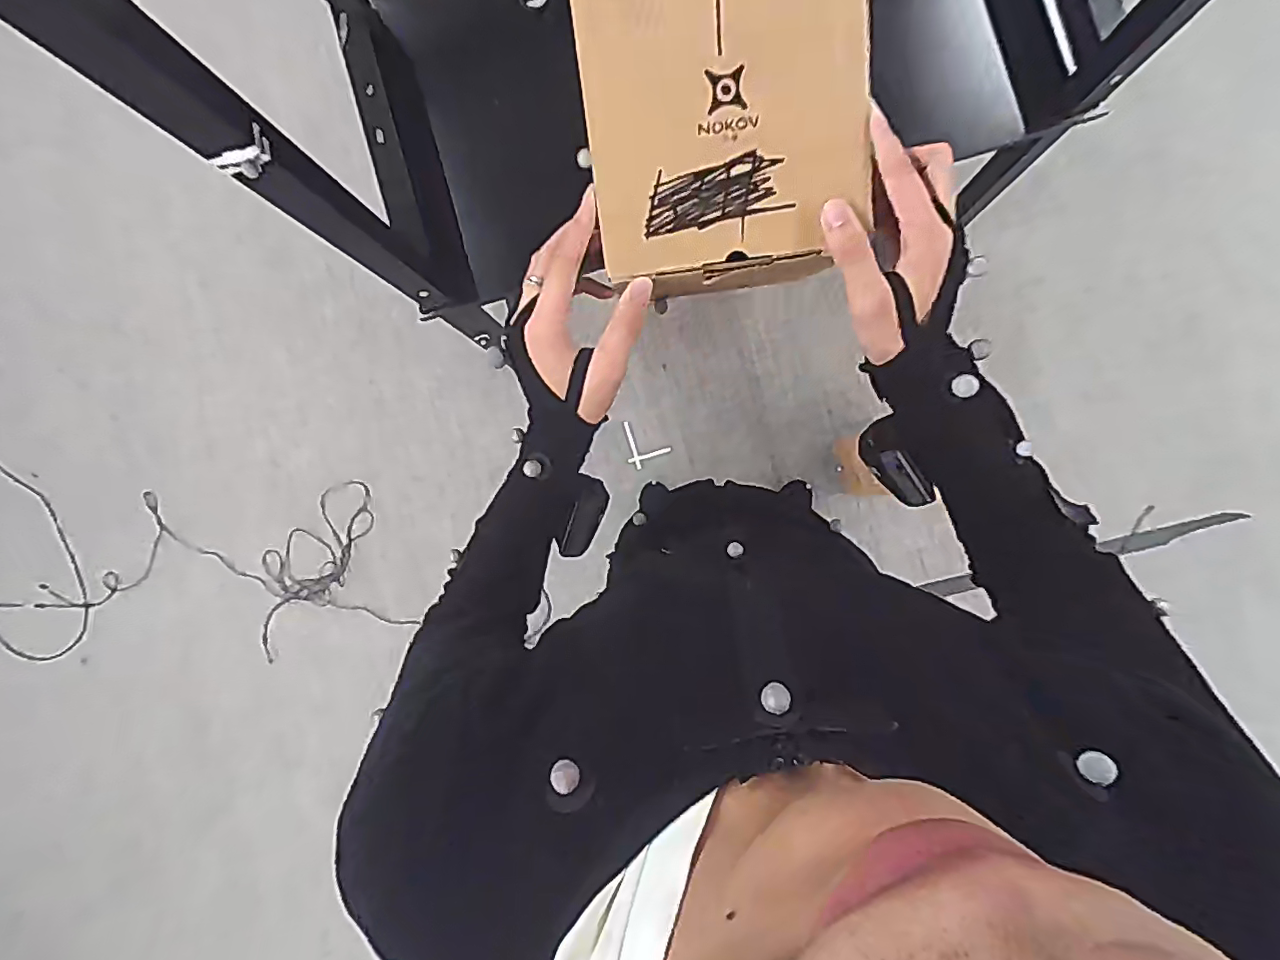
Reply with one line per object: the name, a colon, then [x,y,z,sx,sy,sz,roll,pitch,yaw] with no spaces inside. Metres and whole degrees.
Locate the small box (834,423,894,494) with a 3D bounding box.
small box: [0.673,-0.064,1.521,0.179,0.176,0.168,-18,88,5]

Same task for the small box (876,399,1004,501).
small box: [0.651,-0.063,1.195,0.168,0.176,0.179,-19,88,4]

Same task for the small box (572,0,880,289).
small box: [0.054,-0.236,0.379,0.168,0.176,0.179,-6,104,4]
